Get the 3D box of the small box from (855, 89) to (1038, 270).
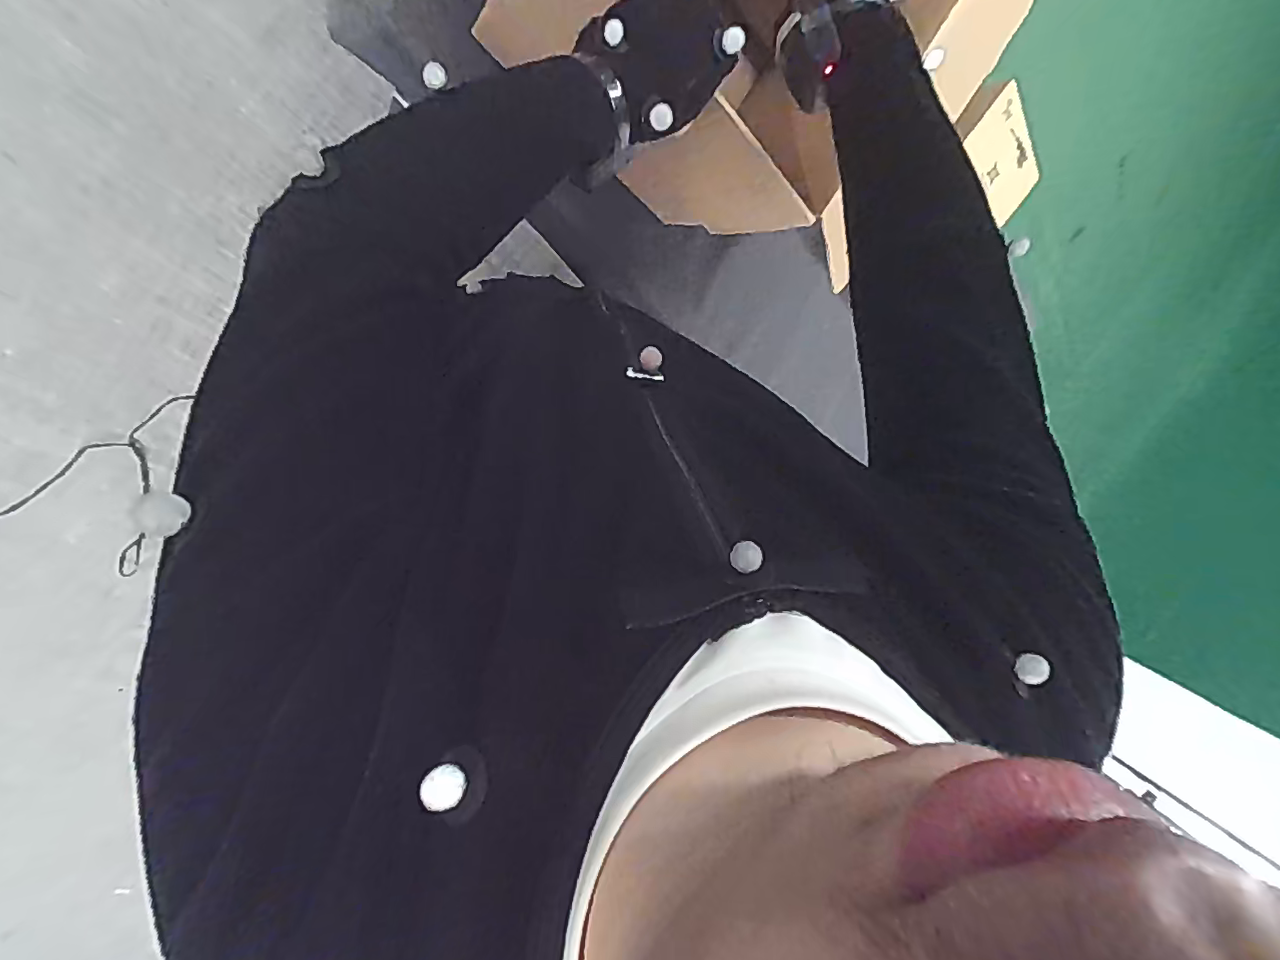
[{"bbox_3d":[0.468,-0.458,0.849,0.179,0.176,0.168,-49,125,1],"label":"small box"}]
